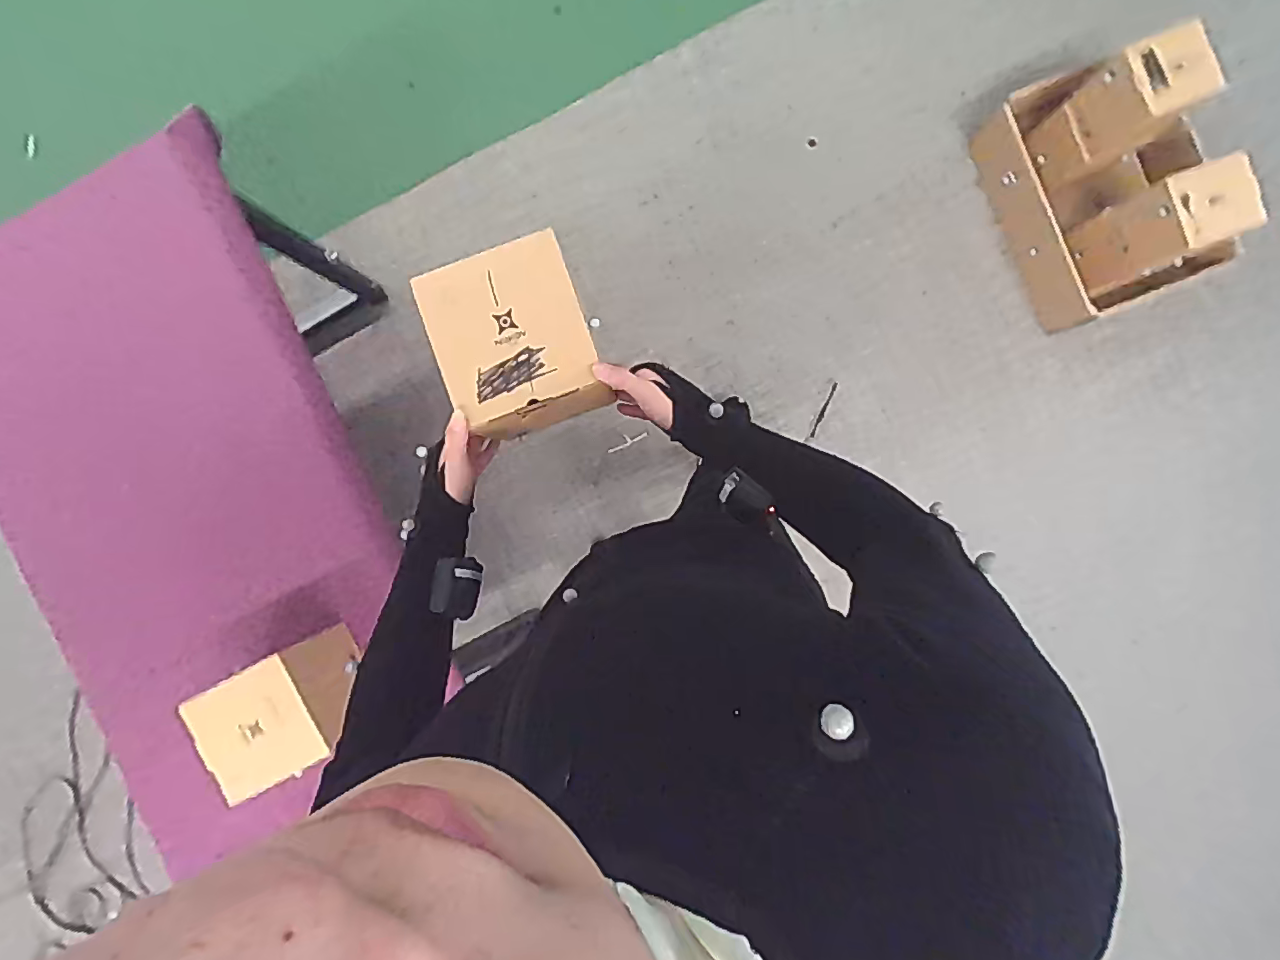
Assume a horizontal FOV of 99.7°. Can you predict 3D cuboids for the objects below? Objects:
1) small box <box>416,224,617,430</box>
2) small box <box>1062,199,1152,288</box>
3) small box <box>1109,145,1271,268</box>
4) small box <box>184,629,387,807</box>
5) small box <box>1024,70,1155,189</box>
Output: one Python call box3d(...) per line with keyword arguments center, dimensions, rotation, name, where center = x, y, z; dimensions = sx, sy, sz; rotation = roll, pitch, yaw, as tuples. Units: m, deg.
box3d(center=(-0.132, -0.165, 0.650), dimensions=(0.168, 0.176, 0.179), rotation=(-18, 89, 2), name="small box")
box3d(center=(1.264, -0.630, 1.408), dimensions=(0.179, 0.176, 0.168), rotation=(-21, 89, 3), name="small box")
box3d(center=(1.254, -0.620, 1.245), dimensions=(0.179, 0.176, 0.168), rotation=(-20, 89, 2), name="small box")
box3d(center=(-0.547, 0.364, 0.858), dimensions=(0.179, 0.176, 0.168), rotation=(-28, 89, 3), name="small box")
box3d(center=(1.161, -0.902, 1.409), dimensions=(0.179, 0.176, 0.168), rotation=(-22, 90, 2), name="small box")
